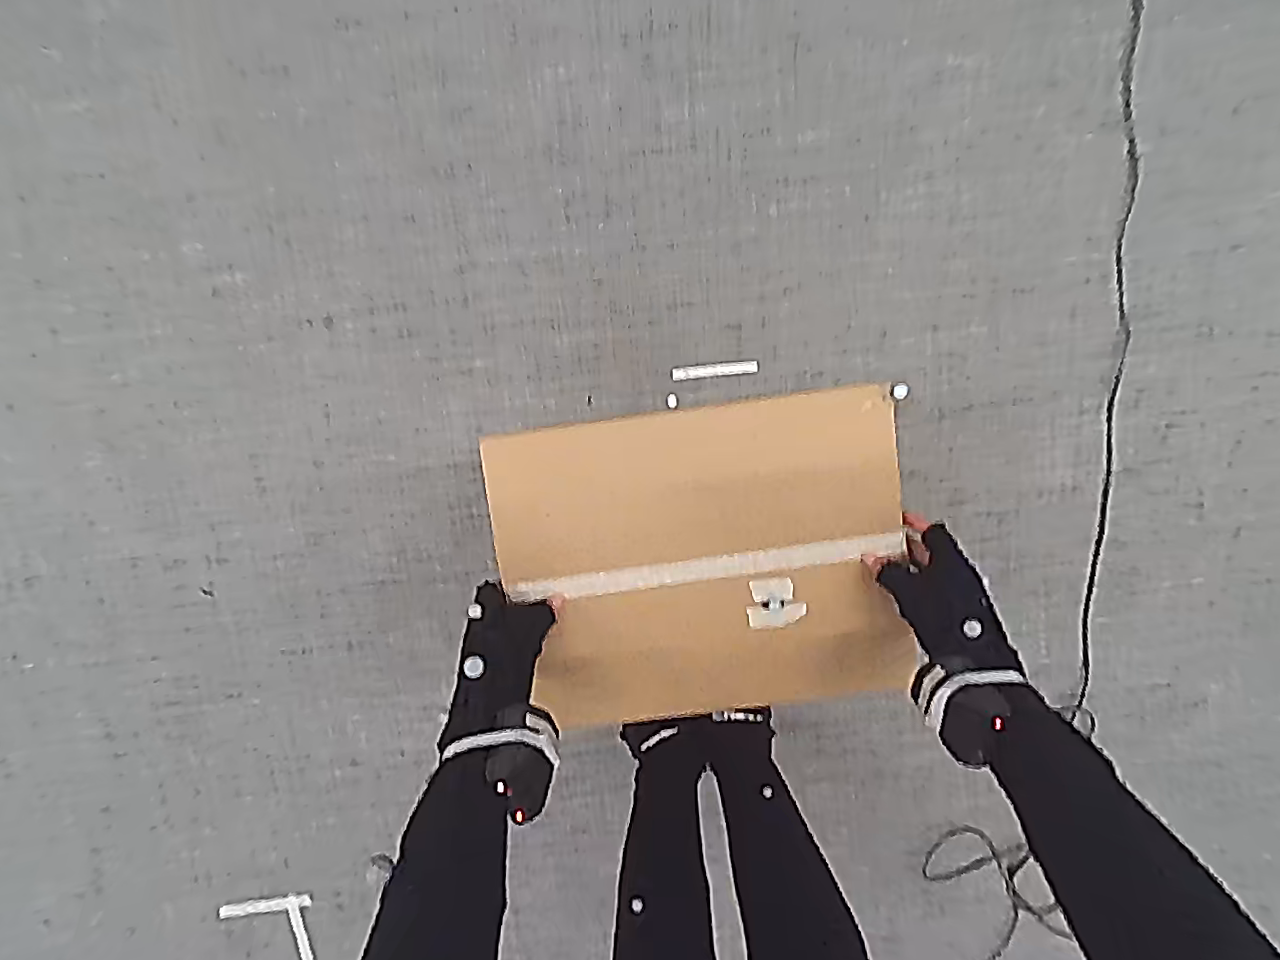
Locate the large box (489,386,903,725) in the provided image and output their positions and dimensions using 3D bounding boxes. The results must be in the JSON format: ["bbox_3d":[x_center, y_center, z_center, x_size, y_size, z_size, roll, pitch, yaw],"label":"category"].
[{"bbox_3d":[0.062,0.070,0.712,0.408,0.320,0.320,-8,97,1],"label":"large box"}]
